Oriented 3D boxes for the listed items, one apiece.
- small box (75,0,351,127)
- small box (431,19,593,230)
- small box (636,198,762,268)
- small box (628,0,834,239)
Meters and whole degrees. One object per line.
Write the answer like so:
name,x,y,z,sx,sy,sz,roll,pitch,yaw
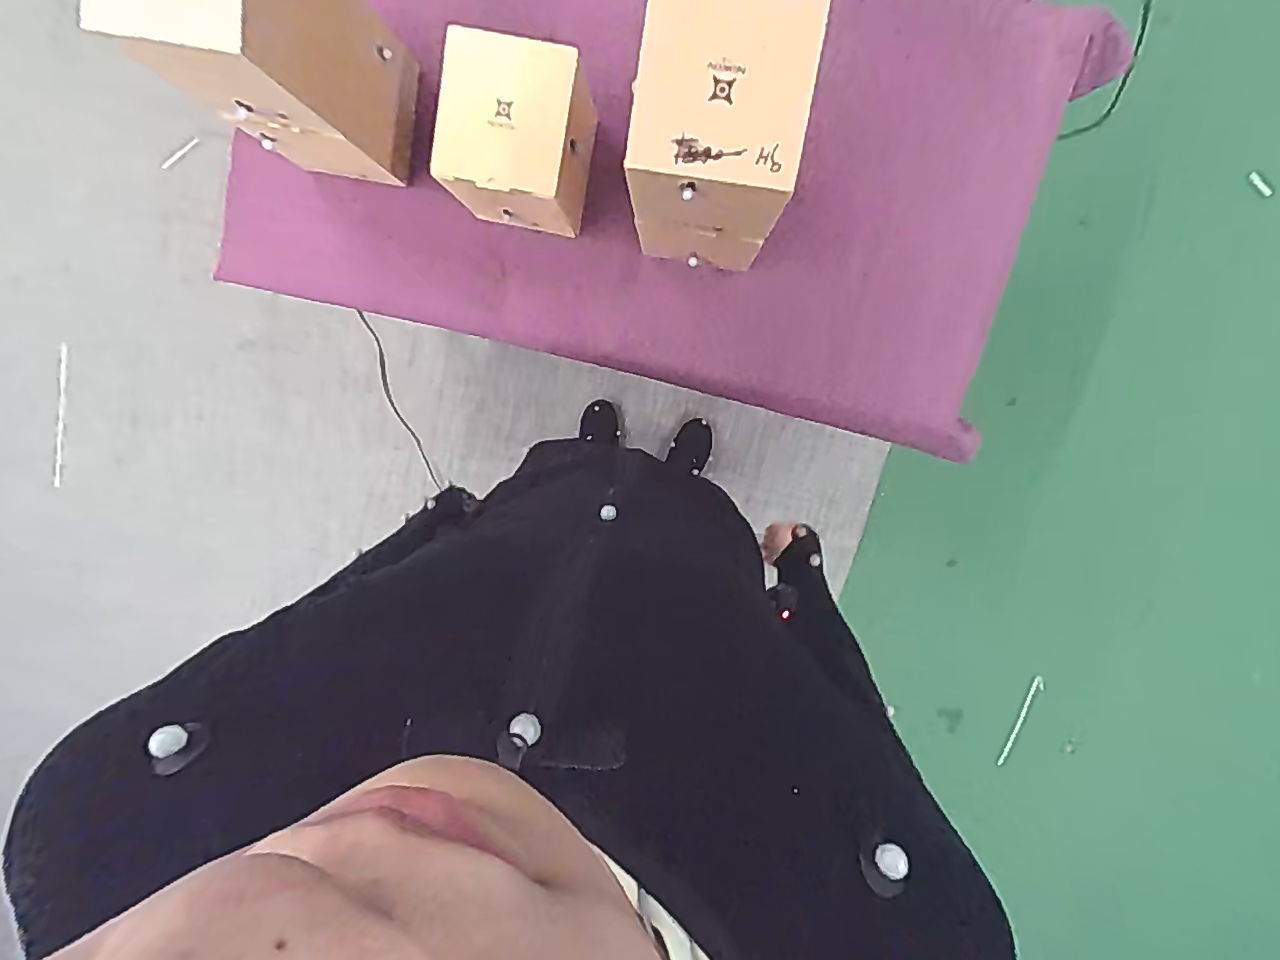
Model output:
small box,-0.441,-0.526,0.583,0.168,0.176,0.179,11,100,1
small box,-0.165,-0.473,0.747,0.168,0.176,0.179,12,101,1
small box,0.093,-0.411,0.742,0.168,0.176,0.179,11,100,2
small box,0.086,-0.384,0.580,0.168,0.176,0.179,10,99,2
